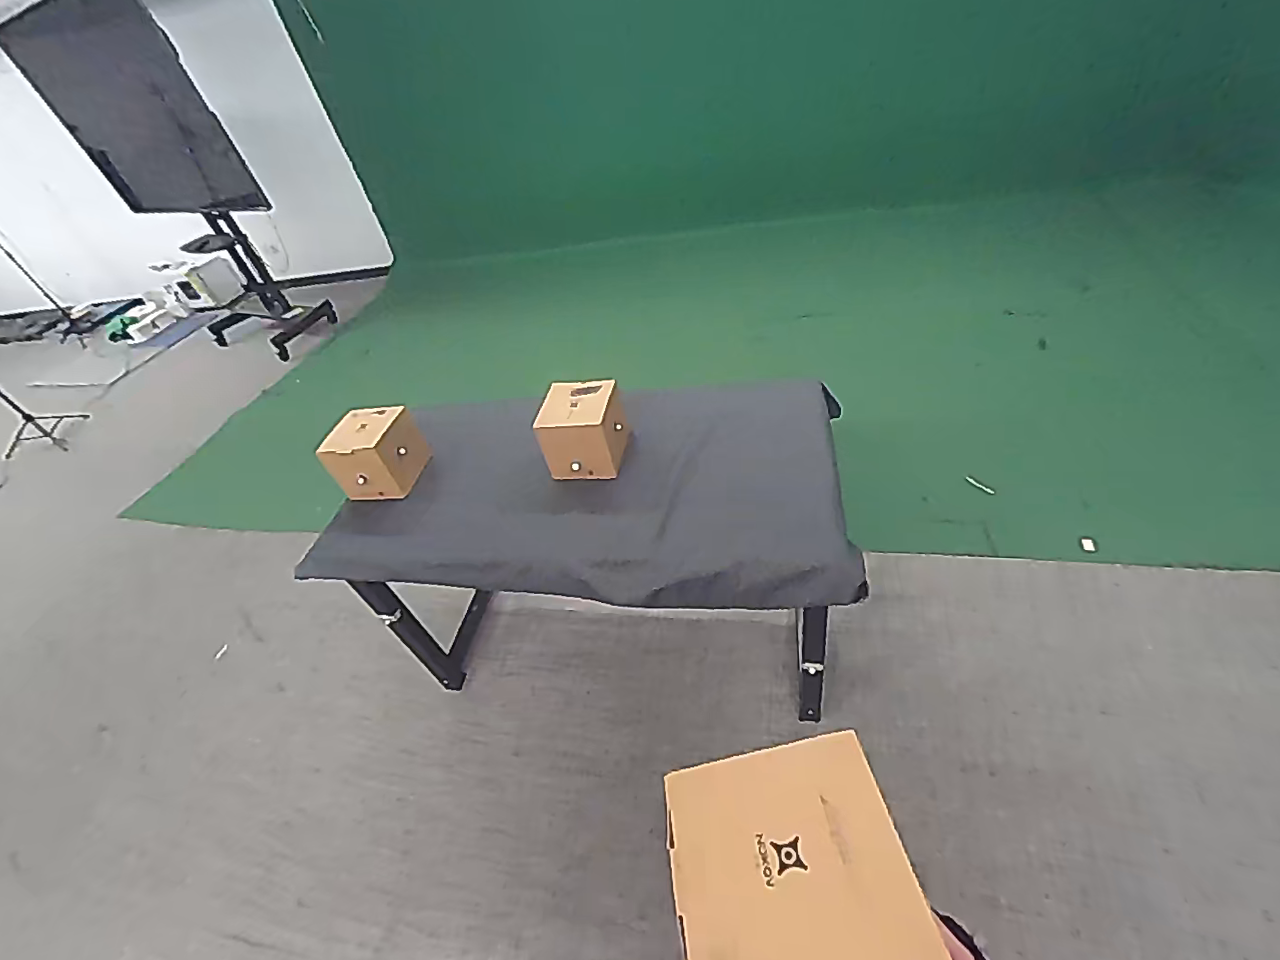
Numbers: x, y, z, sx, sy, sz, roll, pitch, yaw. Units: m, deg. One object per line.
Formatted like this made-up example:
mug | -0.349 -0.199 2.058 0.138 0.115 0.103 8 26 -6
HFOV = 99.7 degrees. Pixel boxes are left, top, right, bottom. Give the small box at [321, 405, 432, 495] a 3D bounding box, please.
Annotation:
small box | -0.673 -0.072 1.407 0.168 0.176 0.179 -1 44 12

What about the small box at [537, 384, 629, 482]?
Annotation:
small box | -0.129 -0.115 1.320 0.168 0.176 0.179 0 45 14

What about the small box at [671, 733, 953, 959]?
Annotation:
small box | 0.140 0.357 0.470 0.179 0.176 0.168 -16 36 4
